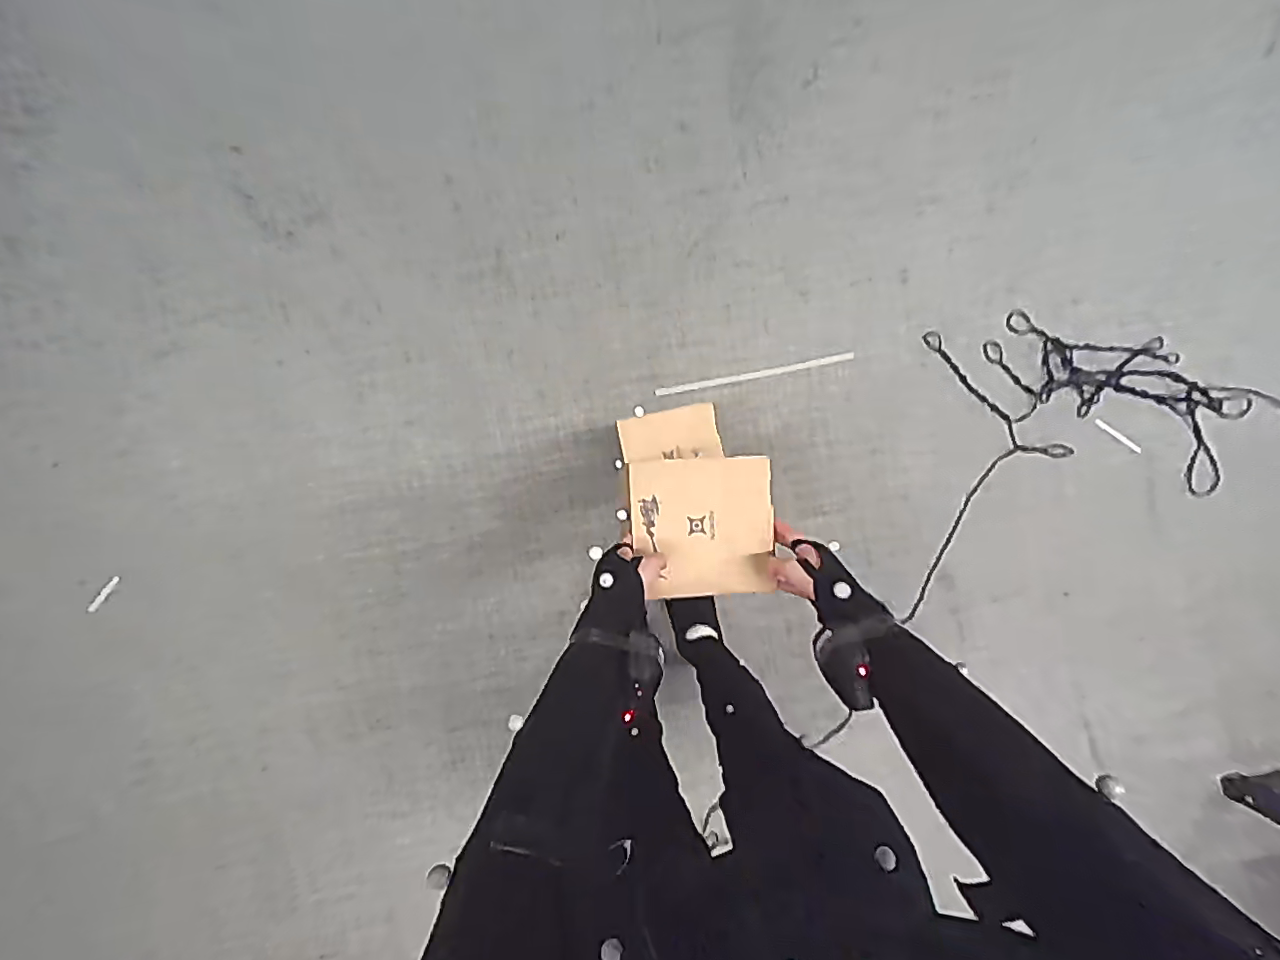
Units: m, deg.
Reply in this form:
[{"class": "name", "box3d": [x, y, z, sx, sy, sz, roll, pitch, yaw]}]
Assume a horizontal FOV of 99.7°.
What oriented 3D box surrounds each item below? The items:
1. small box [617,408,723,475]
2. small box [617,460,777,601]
[{"class": "small box", "box3d": [0.057, -0.034, 1.033, 0.179, 0.176, 0.168, -12, 92, -2]}, {"class": "small box", "box3d": [0.066, 0.064, 0.719, 0.179, 0.176, 0.168, -2, 85, -7]}]
